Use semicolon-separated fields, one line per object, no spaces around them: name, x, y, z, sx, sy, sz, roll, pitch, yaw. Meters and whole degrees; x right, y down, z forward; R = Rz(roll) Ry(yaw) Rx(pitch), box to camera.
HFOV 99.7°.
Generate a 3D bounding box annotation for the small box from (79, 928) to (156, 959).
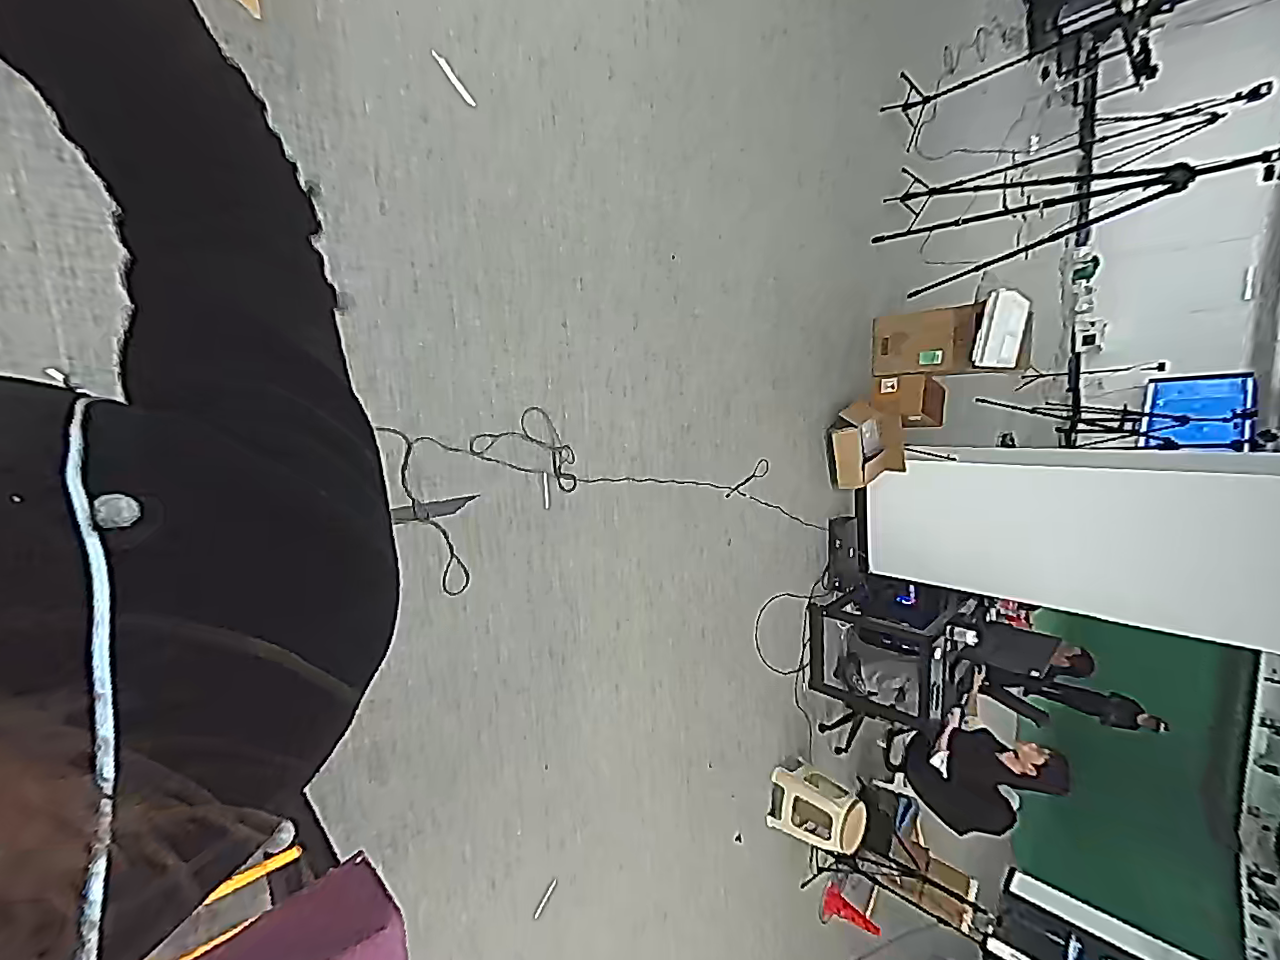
small box;-1.093;1.079;1.090;0.179;0.176;0.168;-14;103;-42
